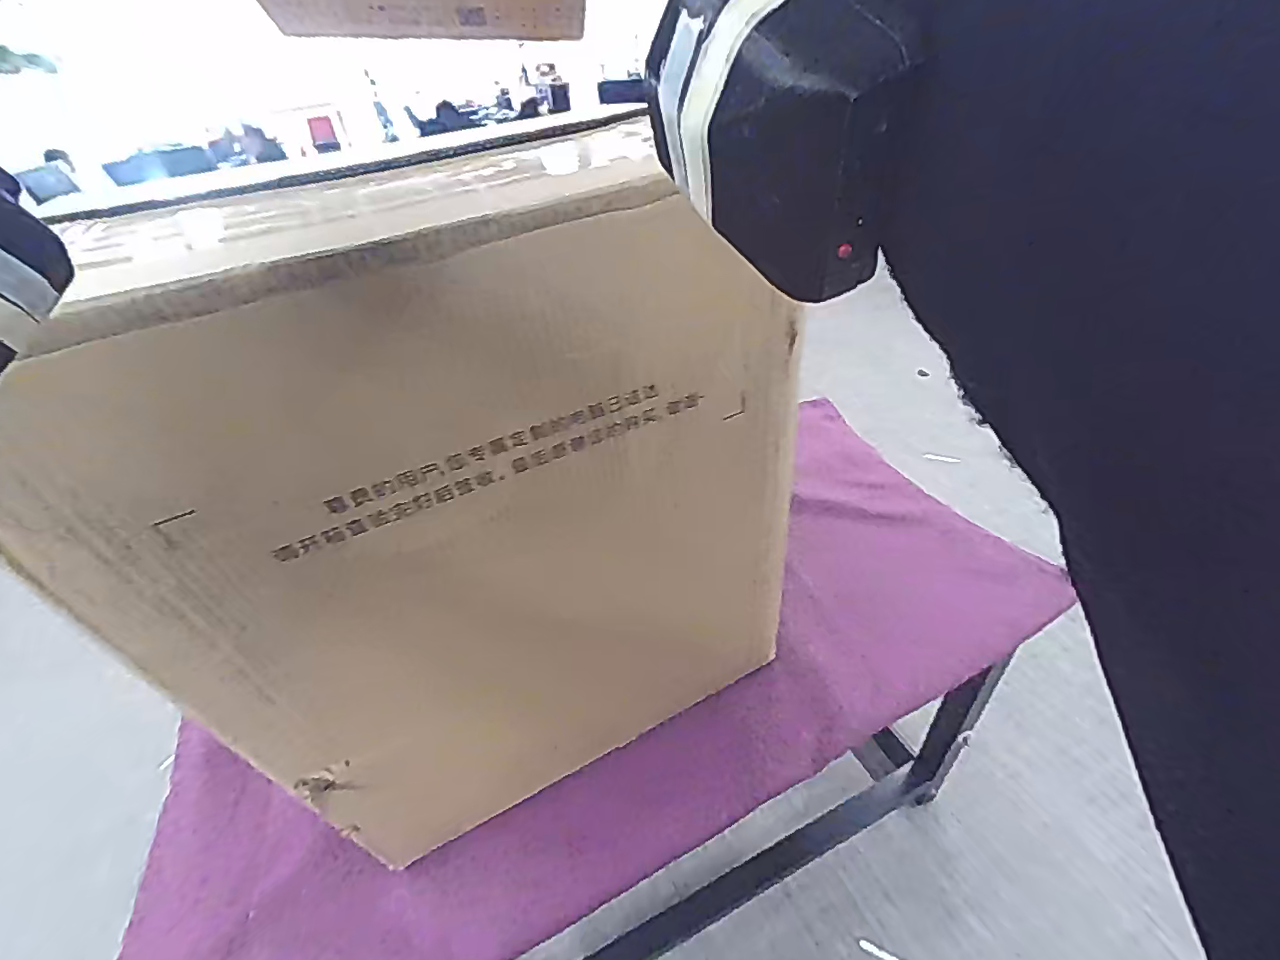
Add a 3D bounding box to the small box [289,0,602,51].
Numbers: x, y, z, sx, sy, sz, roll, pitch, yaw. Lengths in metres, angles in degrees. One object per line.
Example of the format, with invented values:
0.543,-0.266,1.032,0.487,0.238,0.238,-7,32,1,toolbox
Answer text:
-0.098,-0.312,0.213,0.168,0.179,0.176,-4,8,-7,small box
